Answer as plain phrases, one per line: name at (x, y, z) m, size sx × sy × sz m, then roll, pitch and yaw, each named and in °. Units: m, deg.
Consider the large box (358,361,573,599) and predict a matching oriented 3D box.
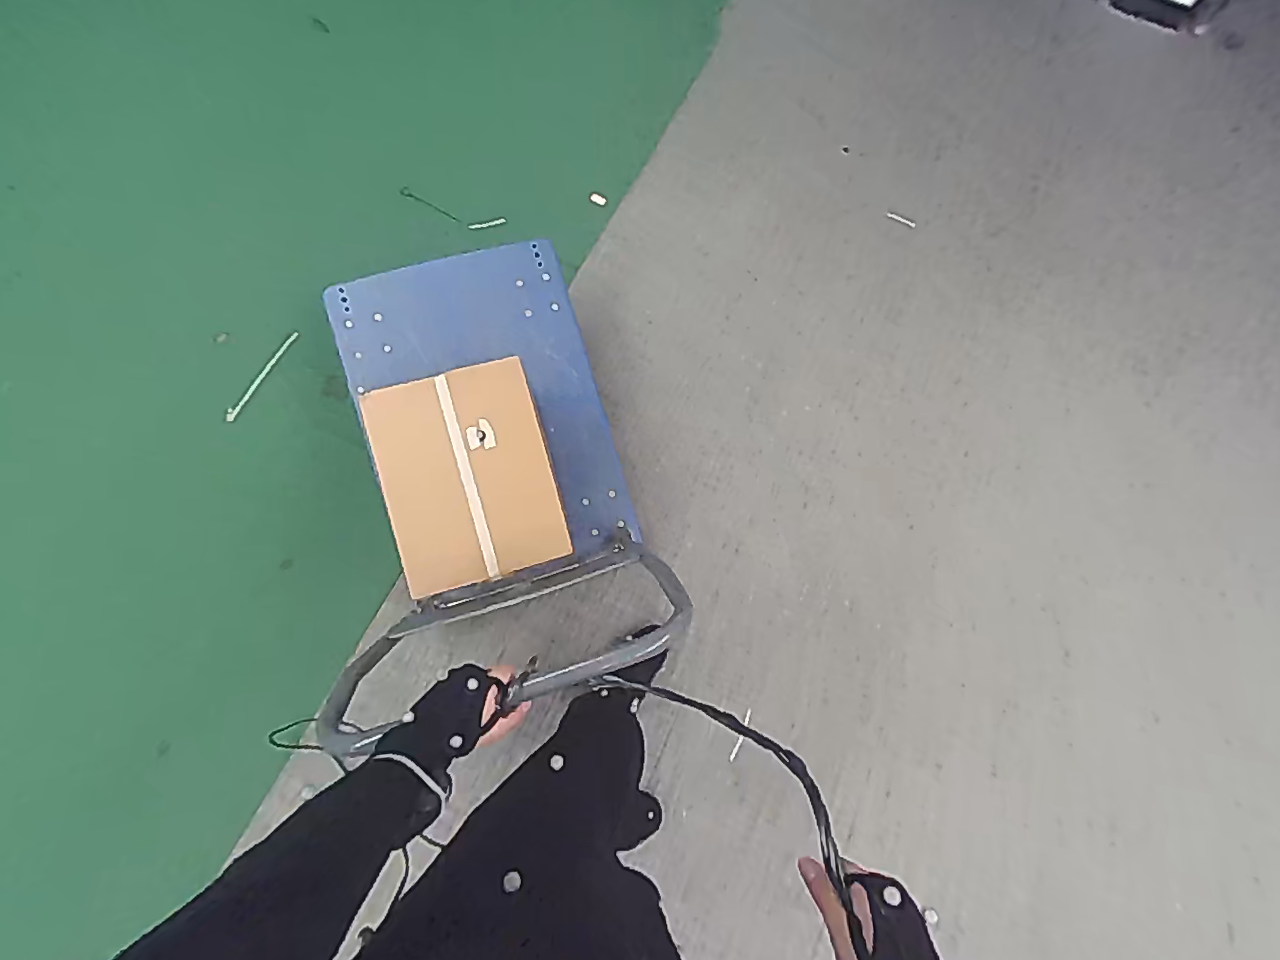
large box at (-0.348, 0.006, 1.181) m, size 0.320 × 0.320 × 0.408 m, roll -16°, pitch 88°, yaw -8°
